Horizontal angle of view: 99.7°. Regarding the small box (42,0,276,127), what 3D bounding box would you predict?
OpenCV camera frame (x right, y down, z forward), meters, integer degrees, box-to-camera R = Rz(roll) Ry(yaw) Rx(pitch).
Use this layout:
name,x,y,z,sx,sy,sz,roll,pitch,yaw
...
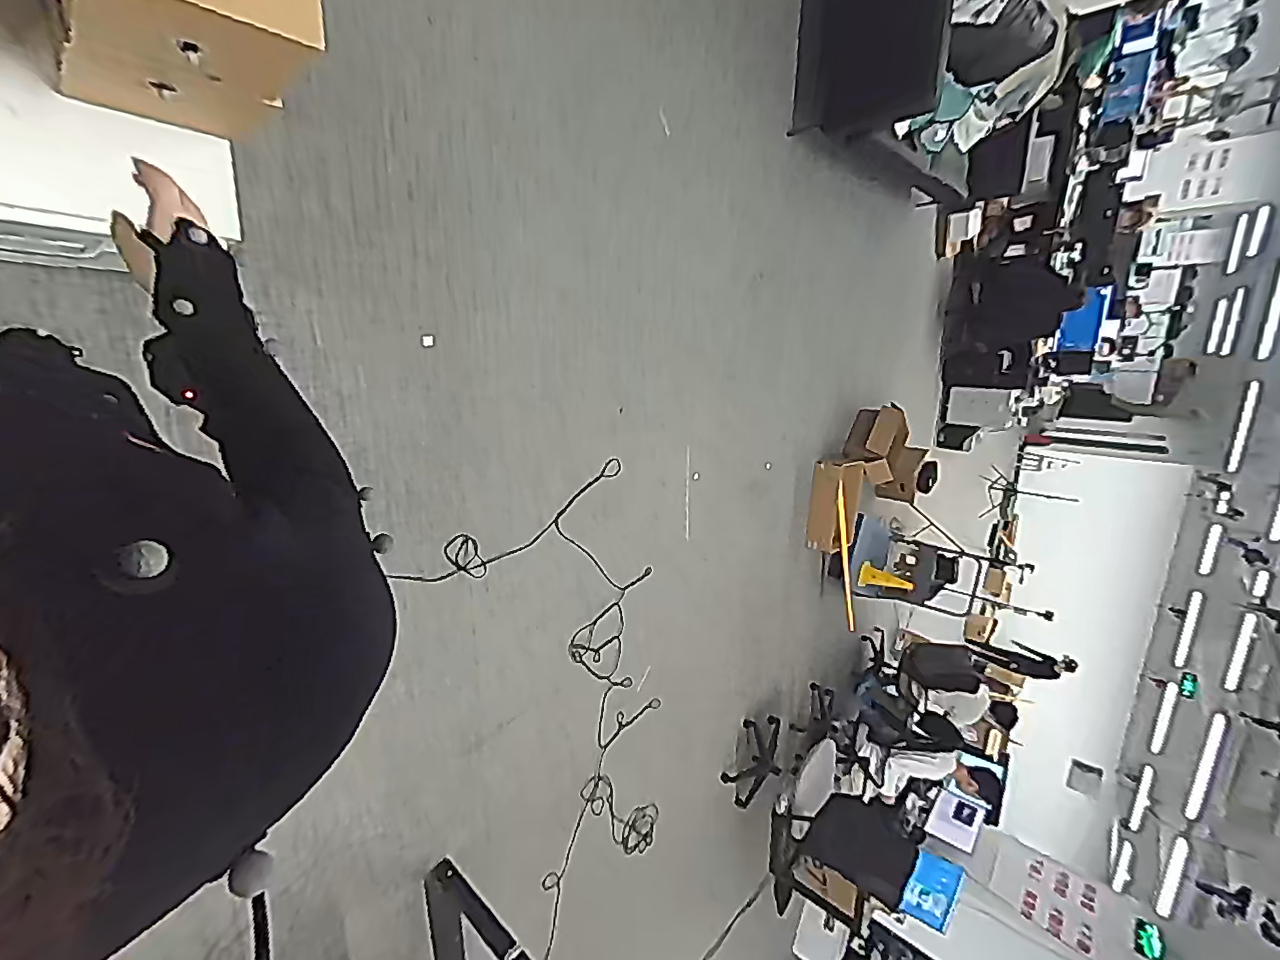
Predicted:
name,x,y,z,sx,sy,sz,roll,pitch,yaw
small box,-0.530,-0.518,0.592,0.179,0.176,0.168,-11,109,-47

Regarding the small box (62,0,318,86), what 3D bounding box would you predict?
name,x,y,z,sx,sy,sz,roll,pitch,yaw
small box,-0.412,-0.492,0.480,0.168,0.176,0.179,-14,111,-46
